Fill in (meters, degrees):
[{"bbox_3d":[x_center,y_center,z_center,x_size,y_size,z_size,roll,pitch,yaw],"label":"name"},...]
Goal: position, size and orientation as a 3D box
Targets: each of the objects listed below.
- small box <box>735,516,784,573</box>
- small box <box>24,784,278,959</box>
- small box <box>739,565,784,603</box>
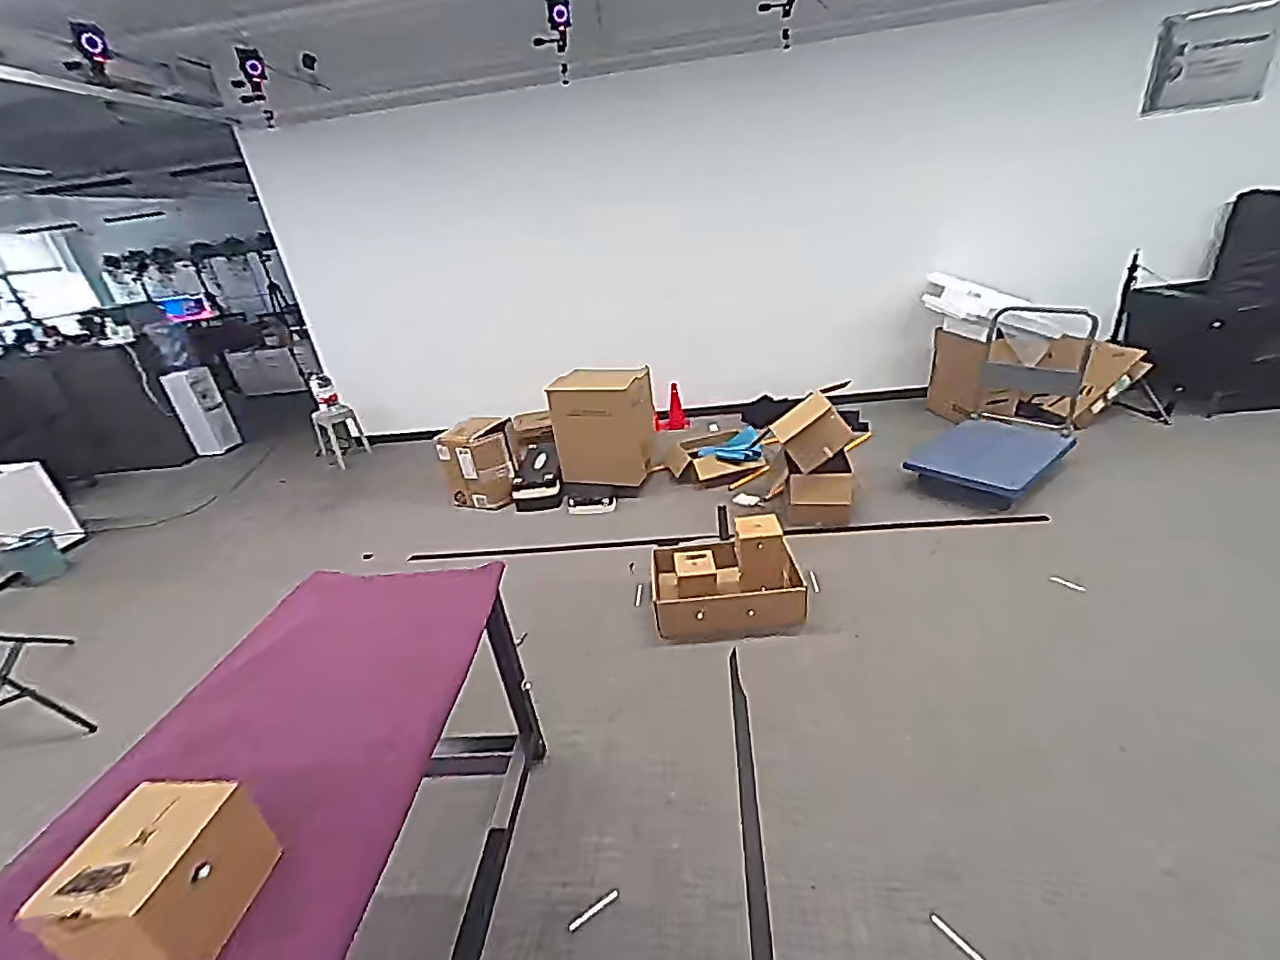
[{"bbox_3d":[0.497,0.271,2.253,0.179,0.176,0.168,-7,25,4],"label":"small box"},{"bbox_3d":[-0.659,0.563,0.760,0.168,0.176,0.179,-4,25,7],"label":"small box"},{"bbox_3d":[0.520,0.415,2.324,0.168,0.176,0.179,-6,25,3],"label":"small box"}]
